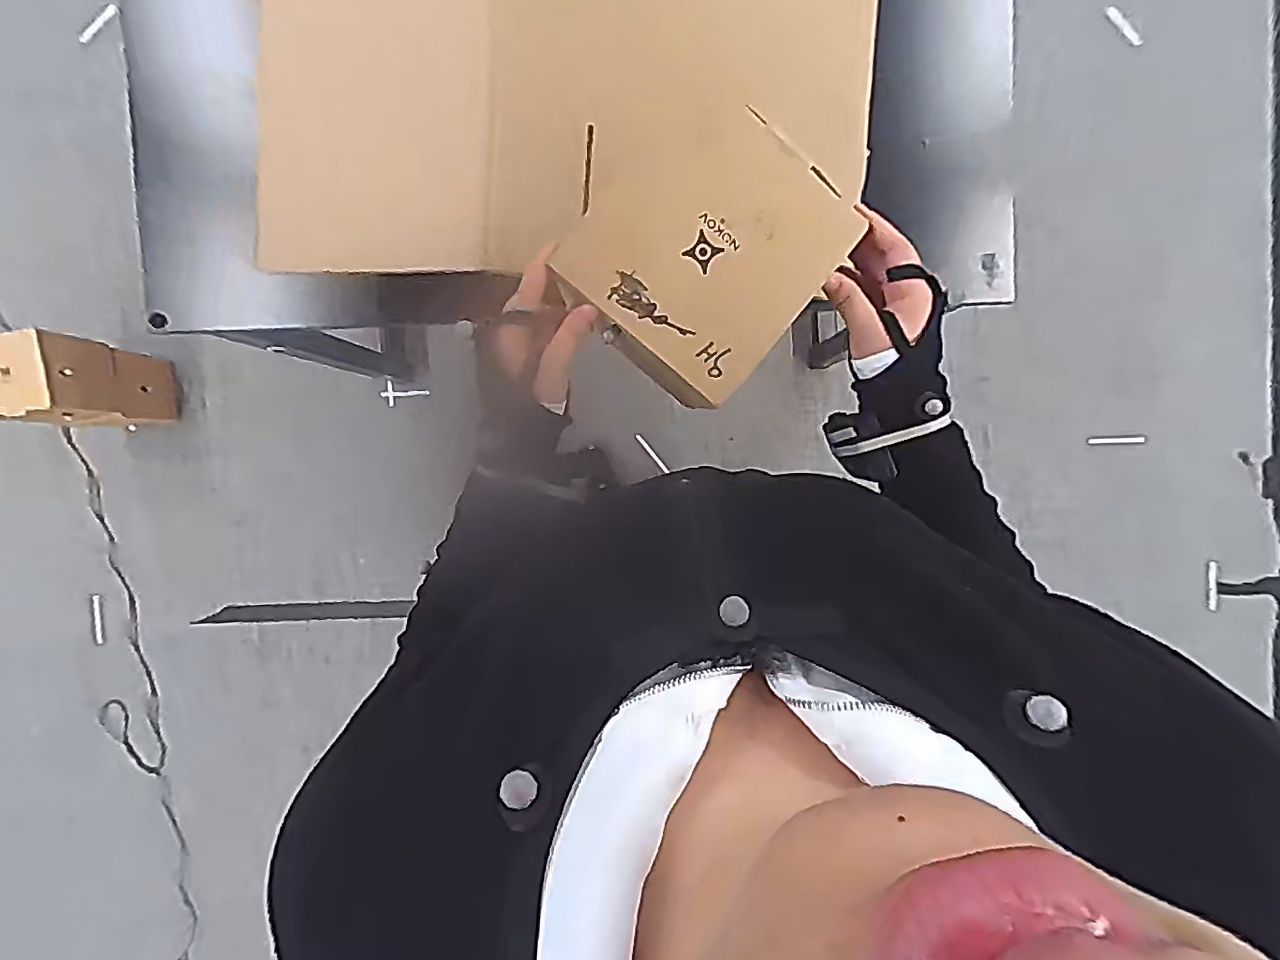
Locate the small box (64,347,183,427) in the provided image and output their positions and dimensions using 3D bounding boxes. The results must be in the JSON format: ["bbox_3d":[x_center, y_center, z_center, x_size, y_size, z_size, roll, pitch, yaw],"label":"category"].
[{"bbox_3d":[-1.349,-0.237,1.410,0.168,0.176,0.179,-6,93,1],"label":"small box"}]

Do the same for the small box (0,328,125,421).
[{"bbox_3d":[-1.352,-0.234,1.248,0.168,0.176,0.179,-9,92,0],"label":"small box"}]
